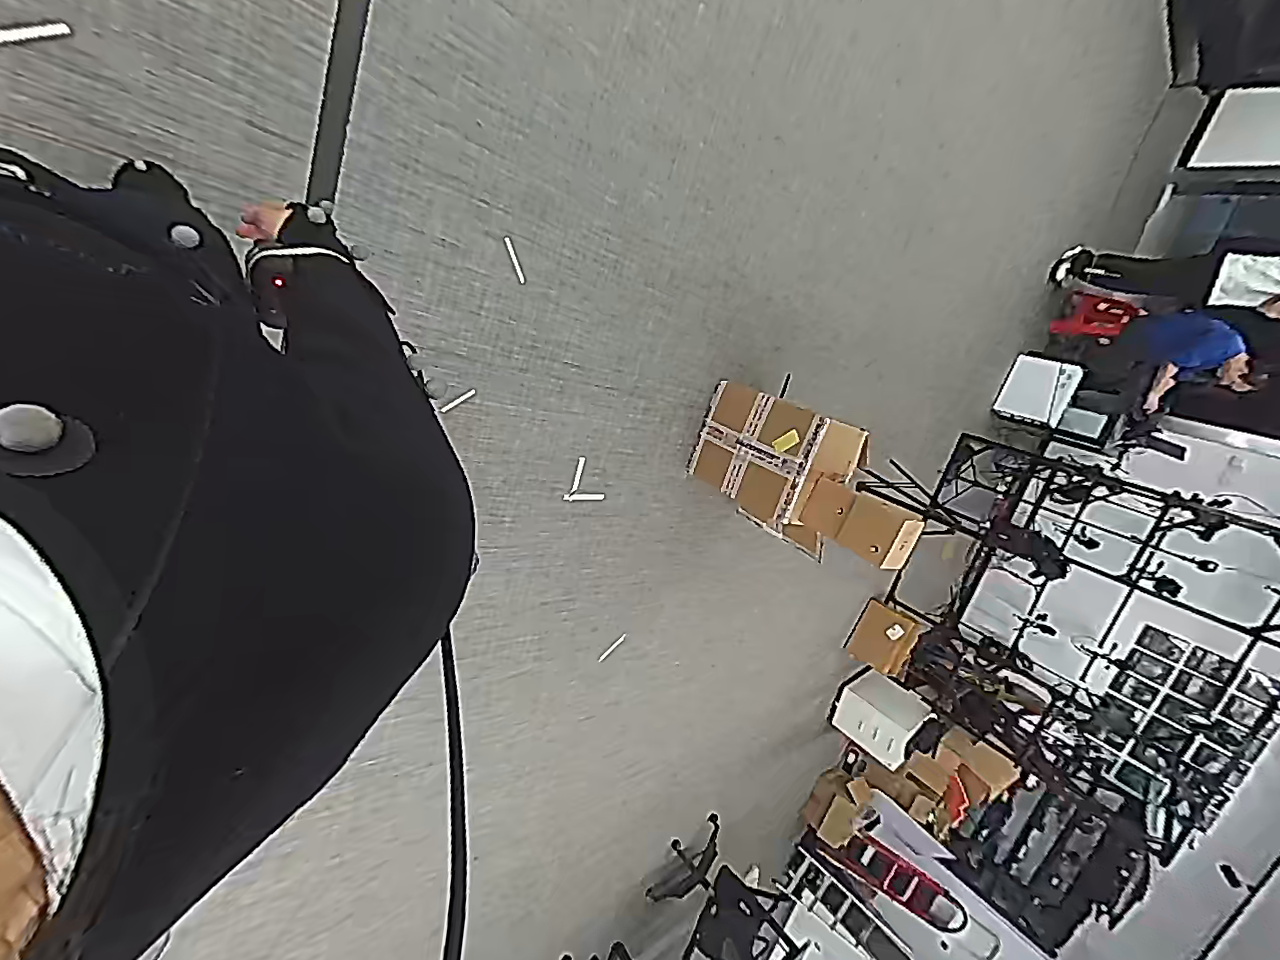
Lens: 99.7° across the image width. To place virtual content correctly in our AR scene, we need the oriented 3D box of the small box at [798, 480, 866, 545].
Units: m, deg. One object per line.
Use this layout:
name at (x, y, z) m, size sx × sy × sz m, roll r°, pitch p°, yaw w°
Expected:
small box at (0.684, 0.115, 1.883) m, size 0.168 × 0.176 × 0.179 m, roll 14°, pitch 105°, yaw -44°

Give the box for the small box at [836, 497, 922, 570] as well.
small box at (0.766, 0.175, 1.750) m, size 0.168 × 0.176 × 0.179 m, roll 10°, pitch 107°, yaw -43°
